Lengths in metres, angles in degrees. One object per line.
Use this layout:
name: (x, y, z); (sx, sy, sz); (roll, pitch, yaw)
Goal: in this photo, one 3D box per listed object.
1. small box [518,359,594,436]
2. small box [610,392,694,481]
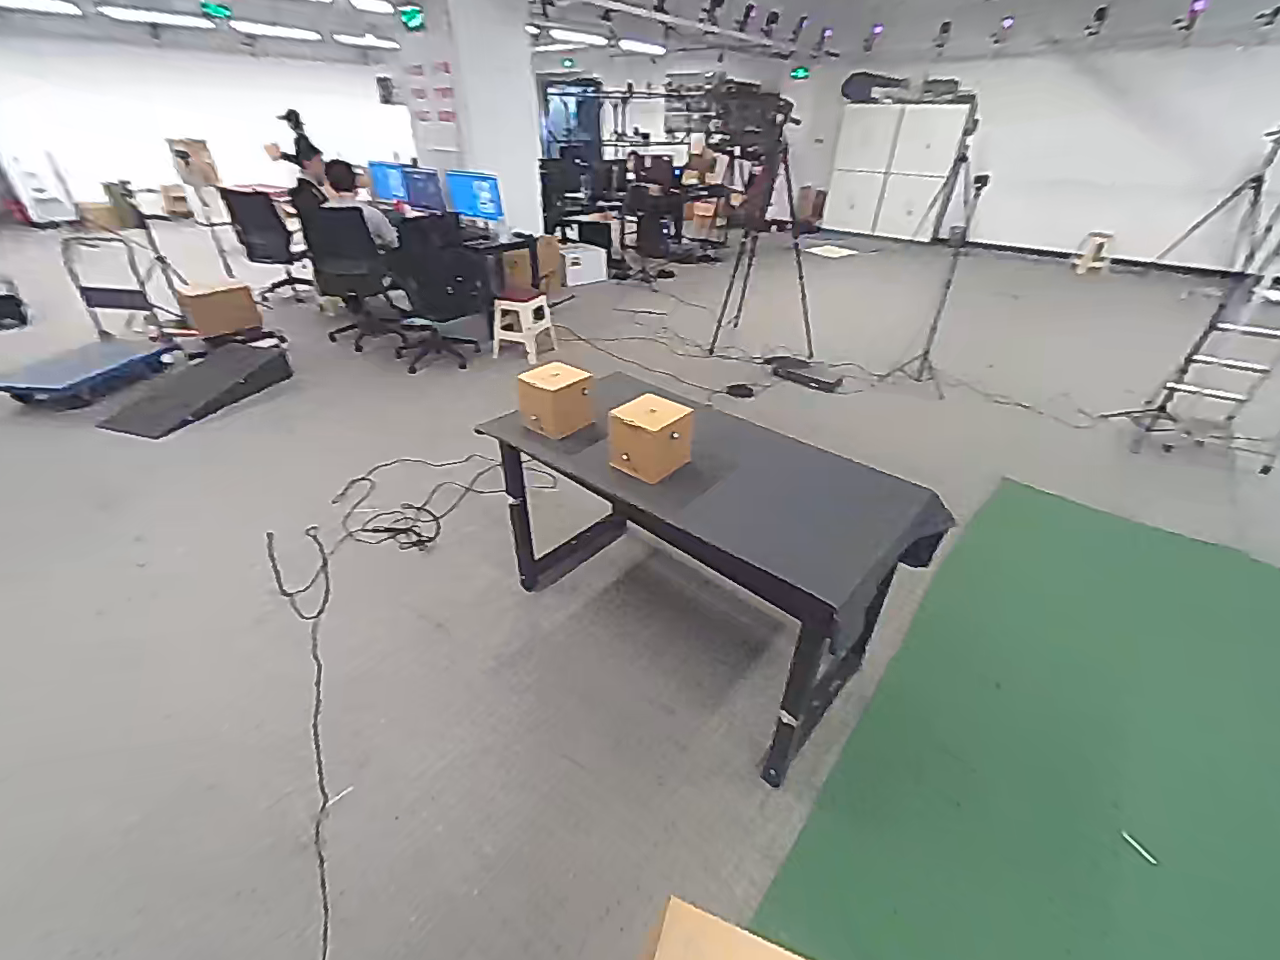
small box: (-0.264, -0.262, 1.705); (0.168, 0.176, 0.179); (26, 40, 32)
small box: (0.028, -0.123, 1.517); (0.168, 0.176, 0.179); (27, 41, 32)
